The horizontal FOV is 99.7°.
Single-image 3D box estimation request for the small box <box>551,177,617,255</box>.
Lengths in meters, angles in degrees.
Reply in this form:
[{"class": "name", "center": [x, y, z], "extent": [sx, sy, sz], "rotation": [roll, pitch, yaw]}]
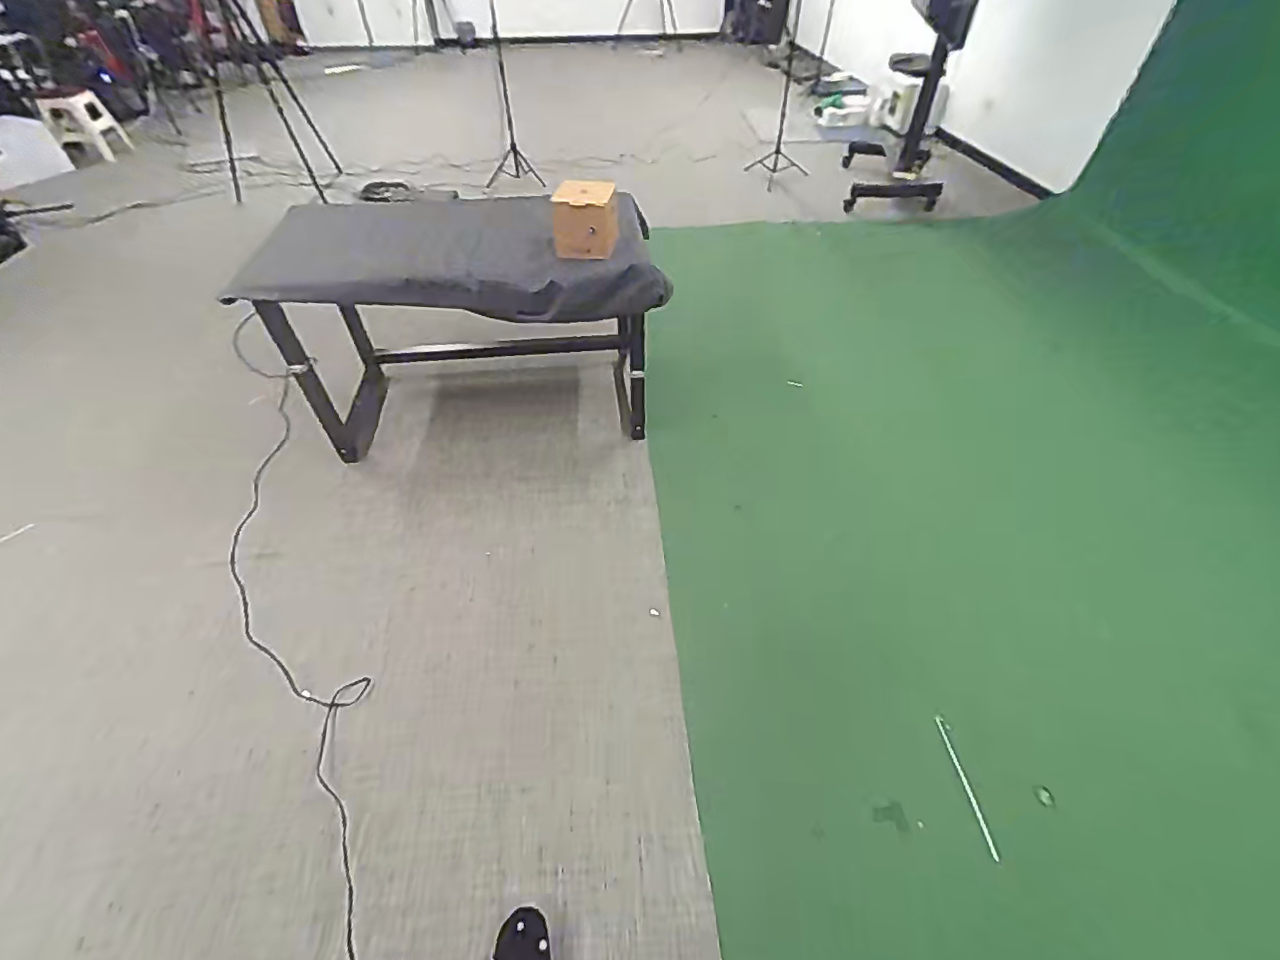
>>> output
[{"class": "small box", "center": [-0.163, -0.805, 1.652], "extent": [0.168, 0.176, 0.179], "rotation": [6, 46, 5]}]
